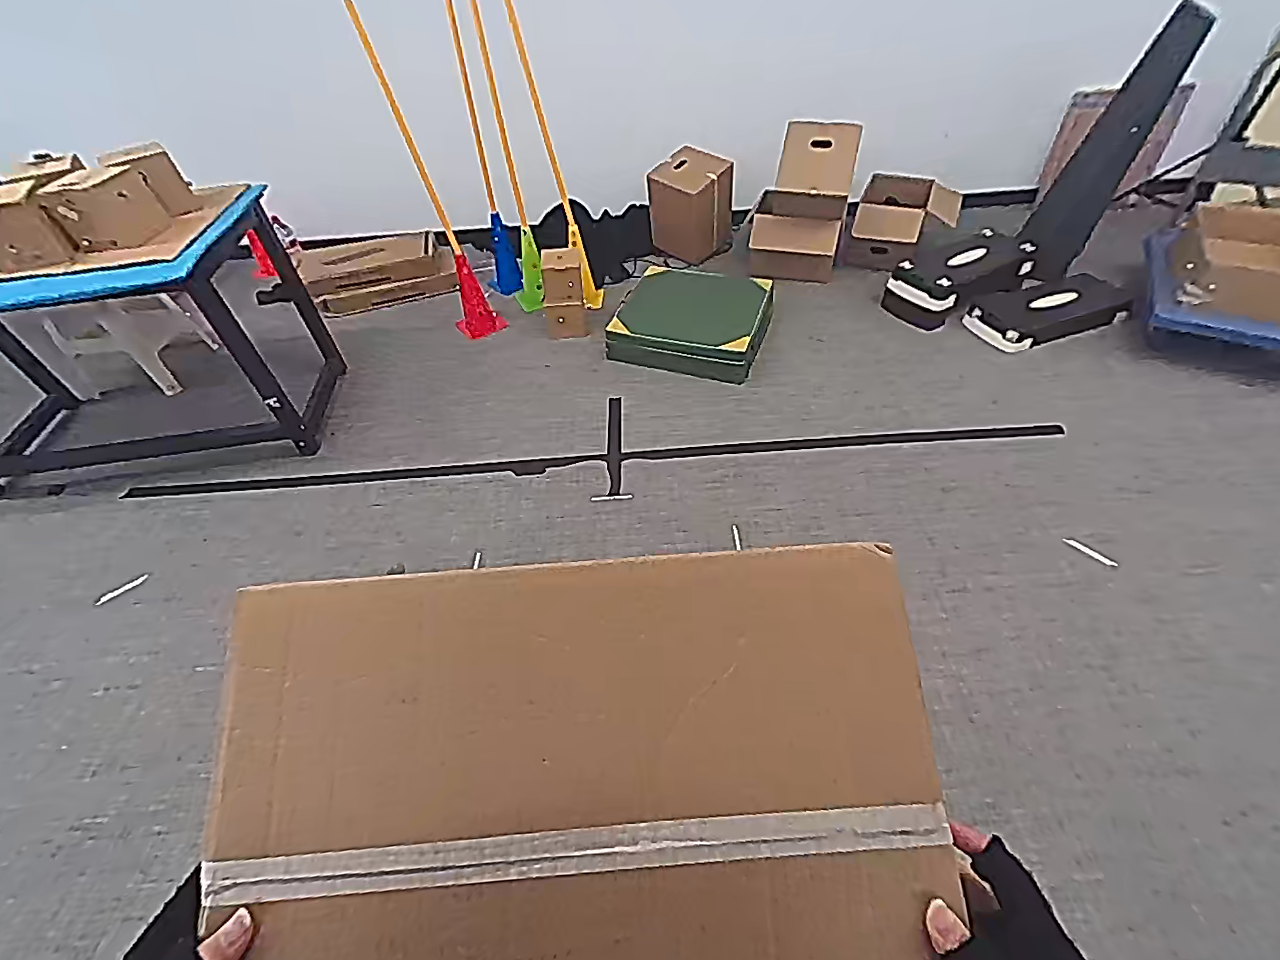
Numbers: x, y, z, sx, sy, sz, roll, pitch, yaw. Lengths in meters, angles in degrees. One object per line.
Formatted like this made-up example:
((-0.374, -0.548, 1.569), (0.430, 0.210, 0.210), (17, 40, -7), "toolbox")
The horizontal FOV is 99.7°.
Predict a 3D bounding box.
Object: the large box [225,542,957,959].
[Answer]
((-0.031, 0.243, 0.453), (0.408, 0.320, 0.320), (-4, 75, 0), "large box")
